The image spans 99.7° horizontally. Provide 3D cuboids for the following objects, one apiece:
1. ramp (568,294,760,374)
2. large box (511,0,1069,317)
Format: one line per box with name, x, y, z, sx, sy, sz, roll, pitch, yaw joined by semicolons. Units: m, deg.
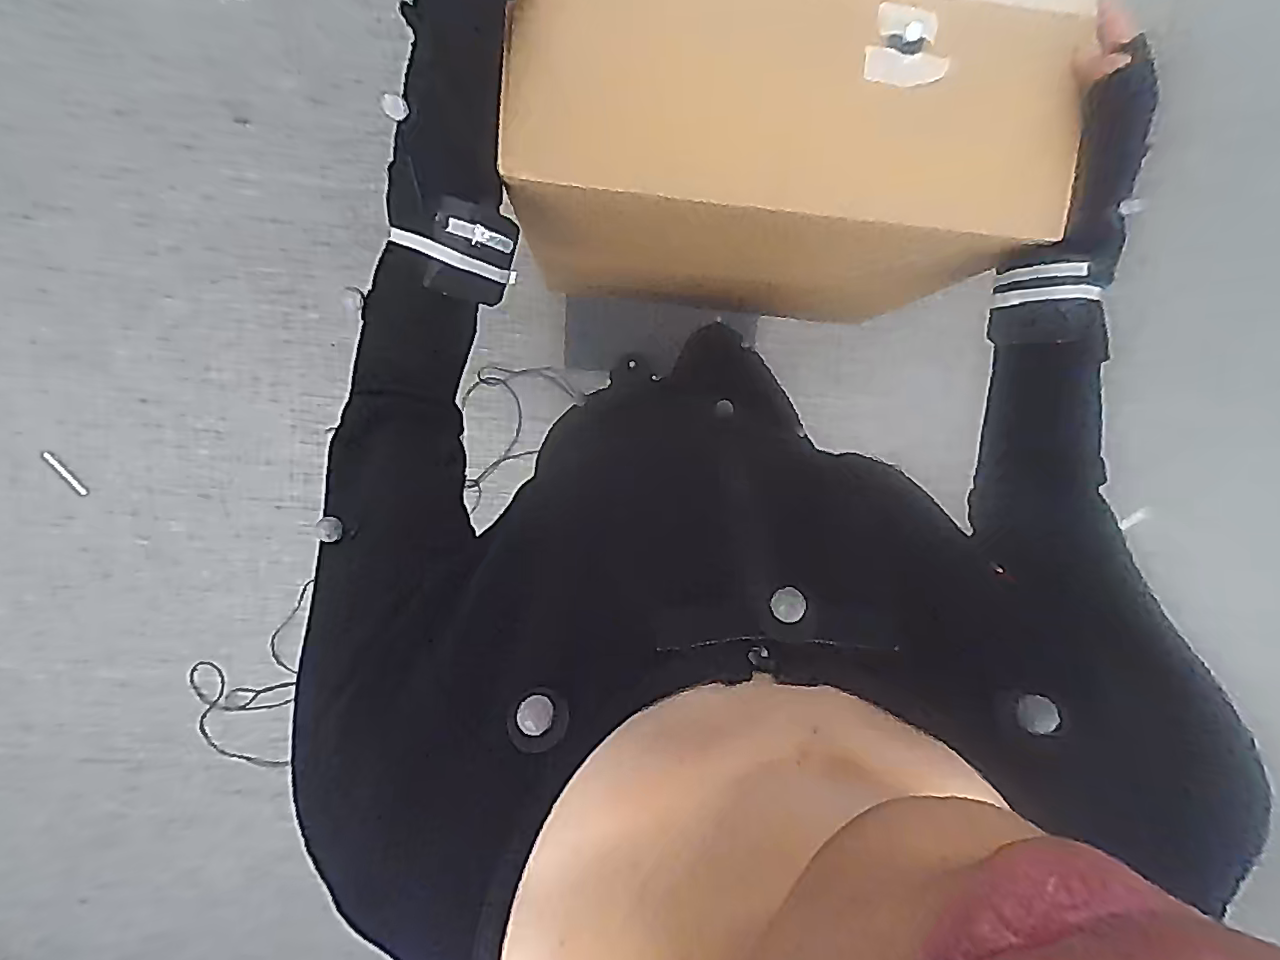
ramp;0.086;-0.758;1.257;0.509;0.206;0.991;1;101;-3
large box;0.103;-0.362;0.530;0.408;0.320;0.320;4;95;-5
